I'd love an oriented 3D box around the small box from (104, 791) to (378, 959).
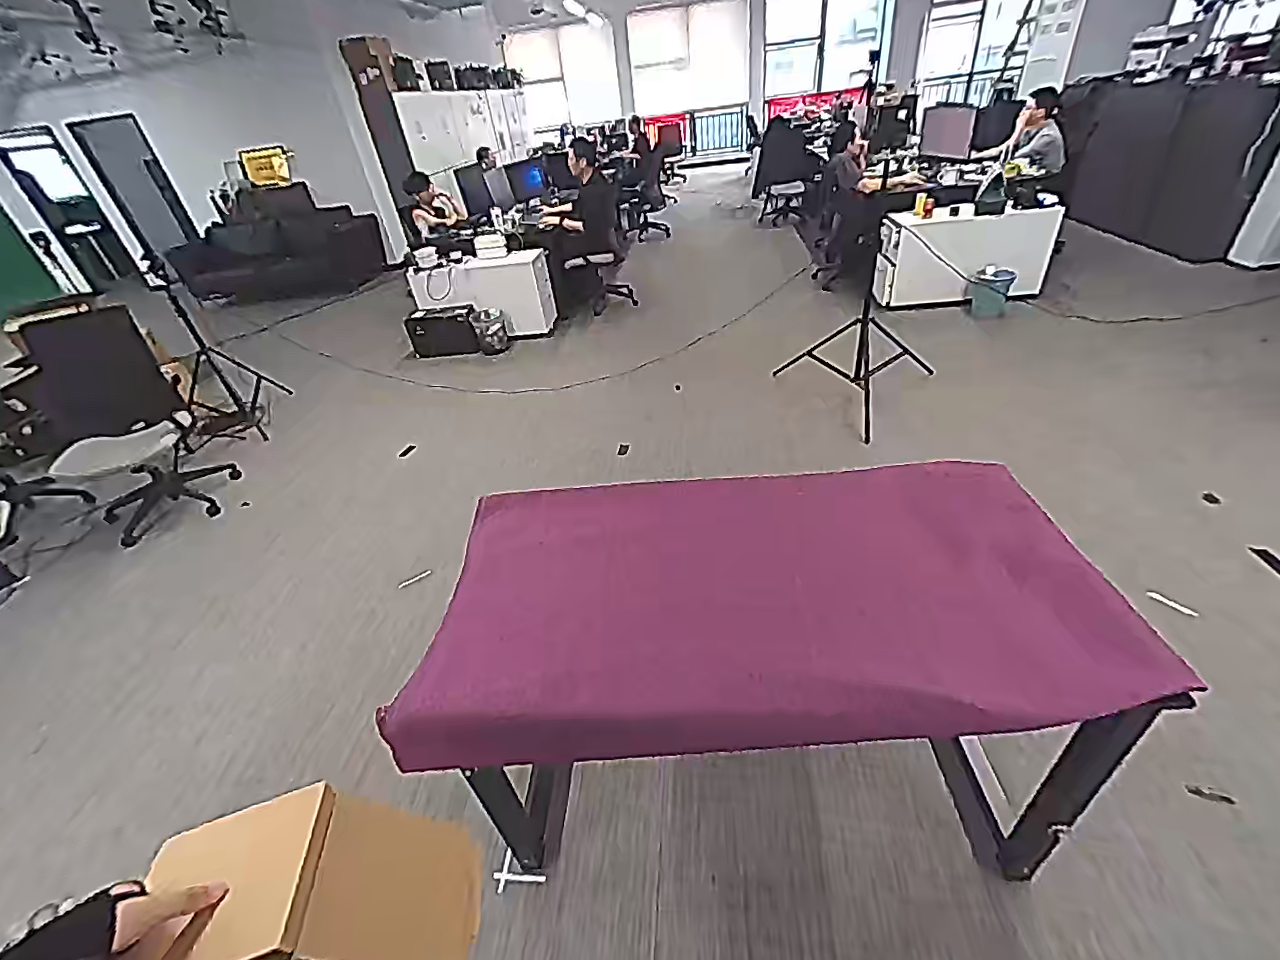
[{"bbox_3d":[-0.395,0.471,0.560,0.179,0.176,0.168,-11,25,-11],"label":"small box"}]
